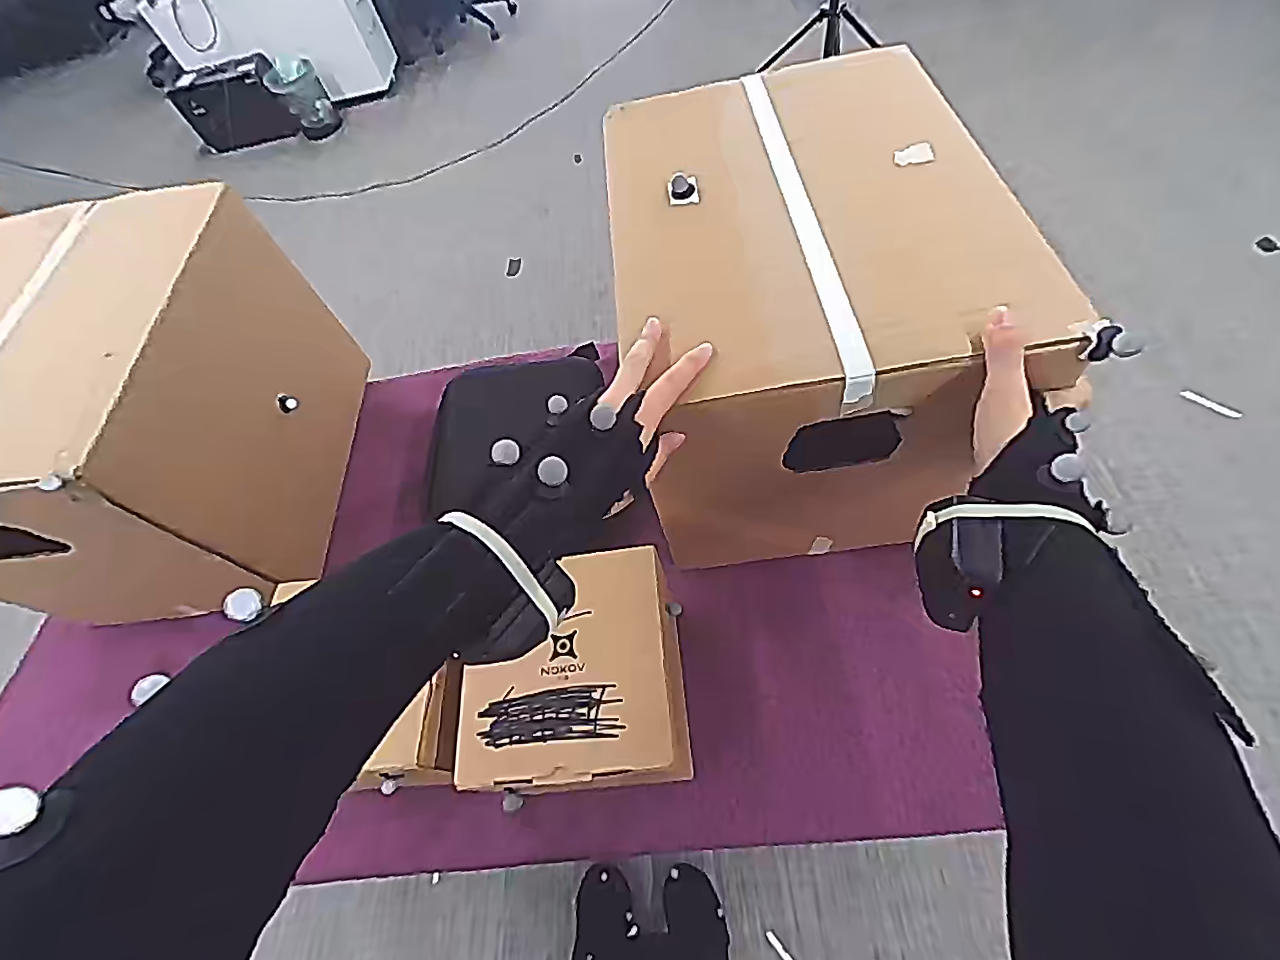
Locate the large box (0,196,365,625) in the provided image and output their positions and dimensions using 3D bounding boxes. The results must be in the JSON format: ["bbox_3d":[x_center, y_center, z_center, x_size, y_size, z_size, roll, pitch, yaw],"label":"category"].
[{"bbox_3d":[-0.589,-0.070,0.671,0.320,0.320,0.408,-9,61,4],"label":"large box"}]
